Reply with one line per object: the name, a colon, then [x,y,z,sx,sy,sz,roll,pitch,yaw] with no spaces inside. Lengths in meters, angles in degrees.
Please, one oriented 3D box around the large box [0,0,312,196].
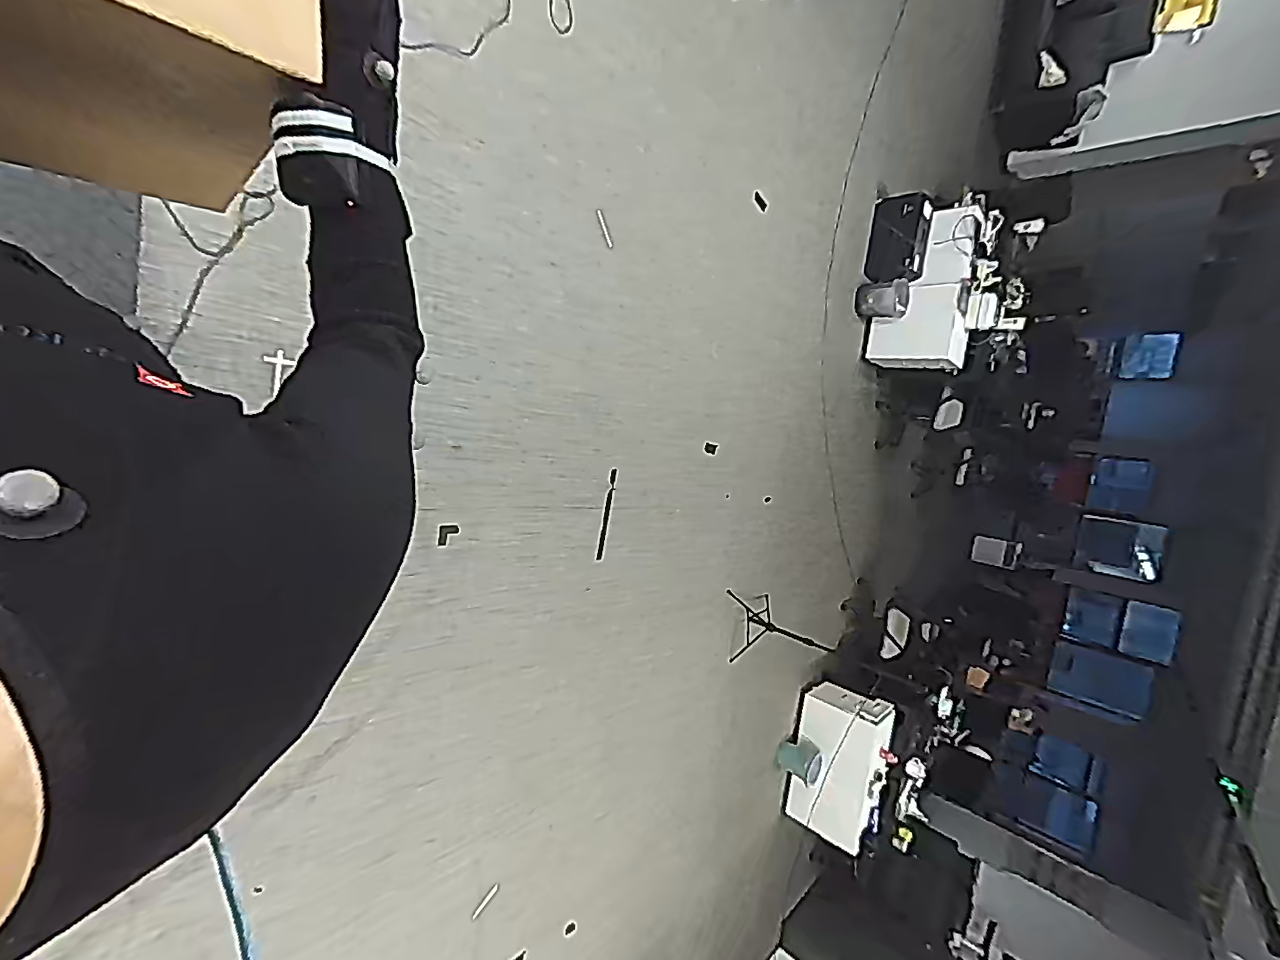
large box: [-0.480,-0.427,0.322,0.408,0.320,0.320,-6,98,-48]
